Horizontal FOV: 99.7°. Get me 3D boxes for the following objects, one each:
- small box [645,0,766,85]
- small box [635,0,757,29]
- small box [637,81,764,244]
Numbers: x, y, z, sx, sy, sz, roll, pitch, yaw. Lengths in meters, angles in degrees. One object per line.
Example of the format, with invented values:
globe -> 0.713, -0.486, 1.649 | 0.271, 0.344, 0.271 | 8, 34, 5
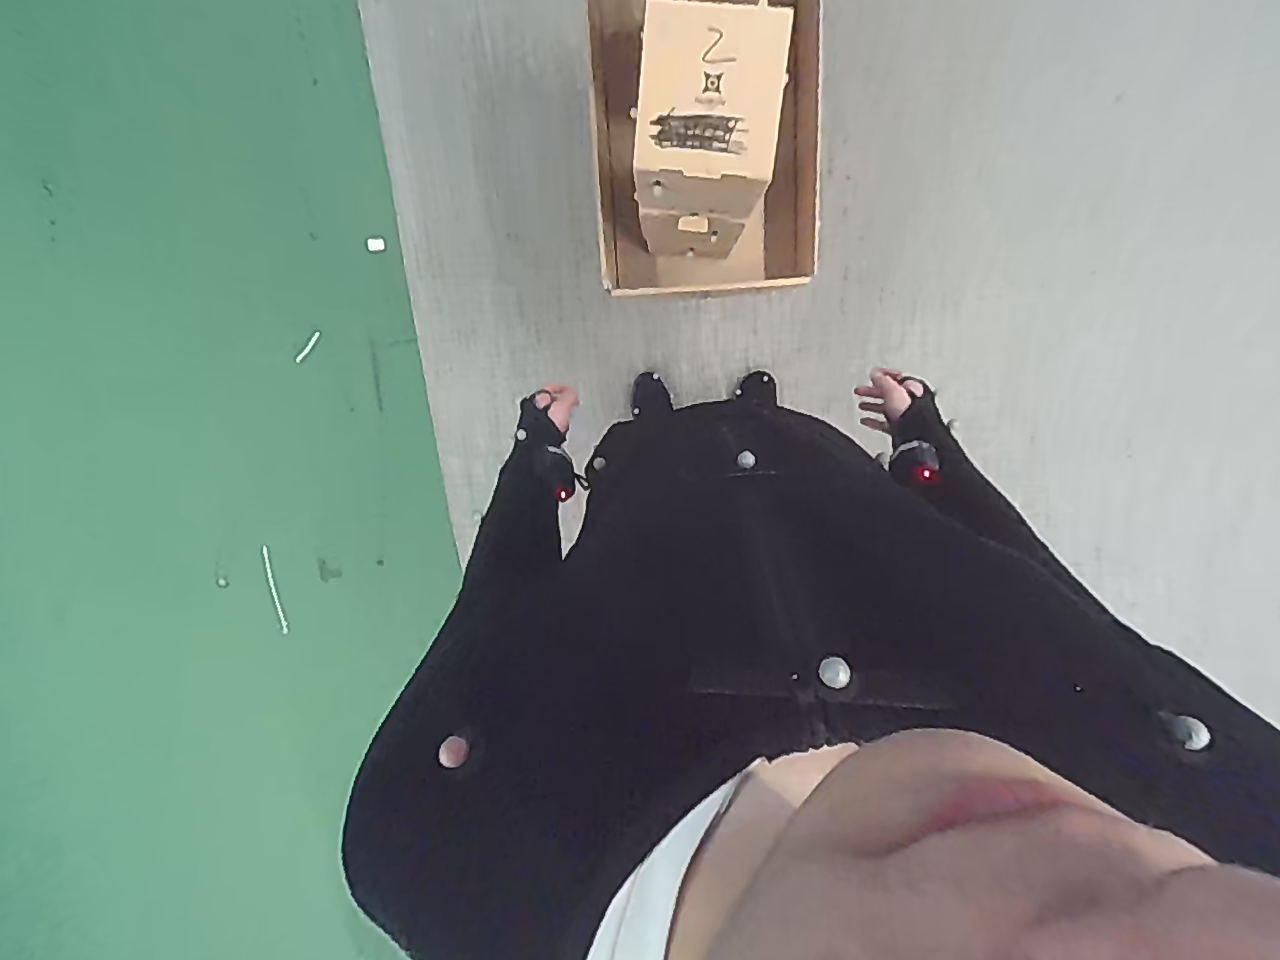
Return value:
small box -> 0.089, -0.727, 0.805 | 0.168, 0.176, 0.179 | -3, 104, 3
small box -> 0.076, -0.692, 0.645 | 0.168, 0.176, 0.179 | 6, 105, 2
small box -> 0.090, -0.485, 0.853 | 0.168, 0.176, 0.179 | 6, 101, 2
